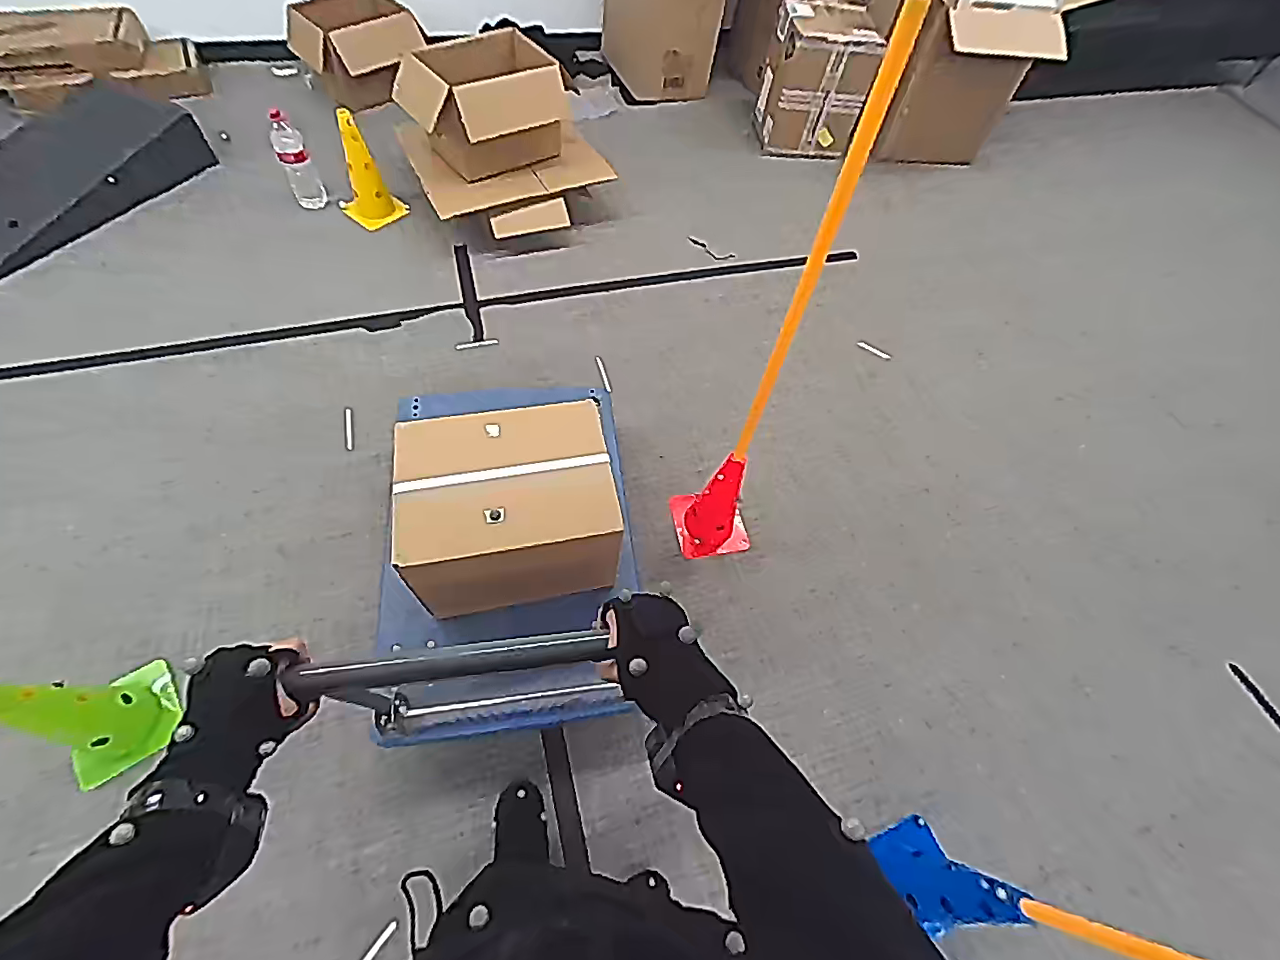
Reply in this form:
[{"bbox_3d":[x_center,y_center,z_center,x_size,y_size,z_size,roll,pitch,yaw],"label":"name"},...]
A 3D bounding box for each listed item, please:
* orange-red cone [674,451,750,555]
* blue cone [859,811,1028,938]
[{"bbox_3d":[0.224,0.034,1.415,0.199,0.360,0.198,-6,61,-11],"label":"orange-red cone"},{"bbox_3d":[0.606,0.769,1.035,0.193,0.380,0.192,-16,61,-15],"label":"blue cone"}]
